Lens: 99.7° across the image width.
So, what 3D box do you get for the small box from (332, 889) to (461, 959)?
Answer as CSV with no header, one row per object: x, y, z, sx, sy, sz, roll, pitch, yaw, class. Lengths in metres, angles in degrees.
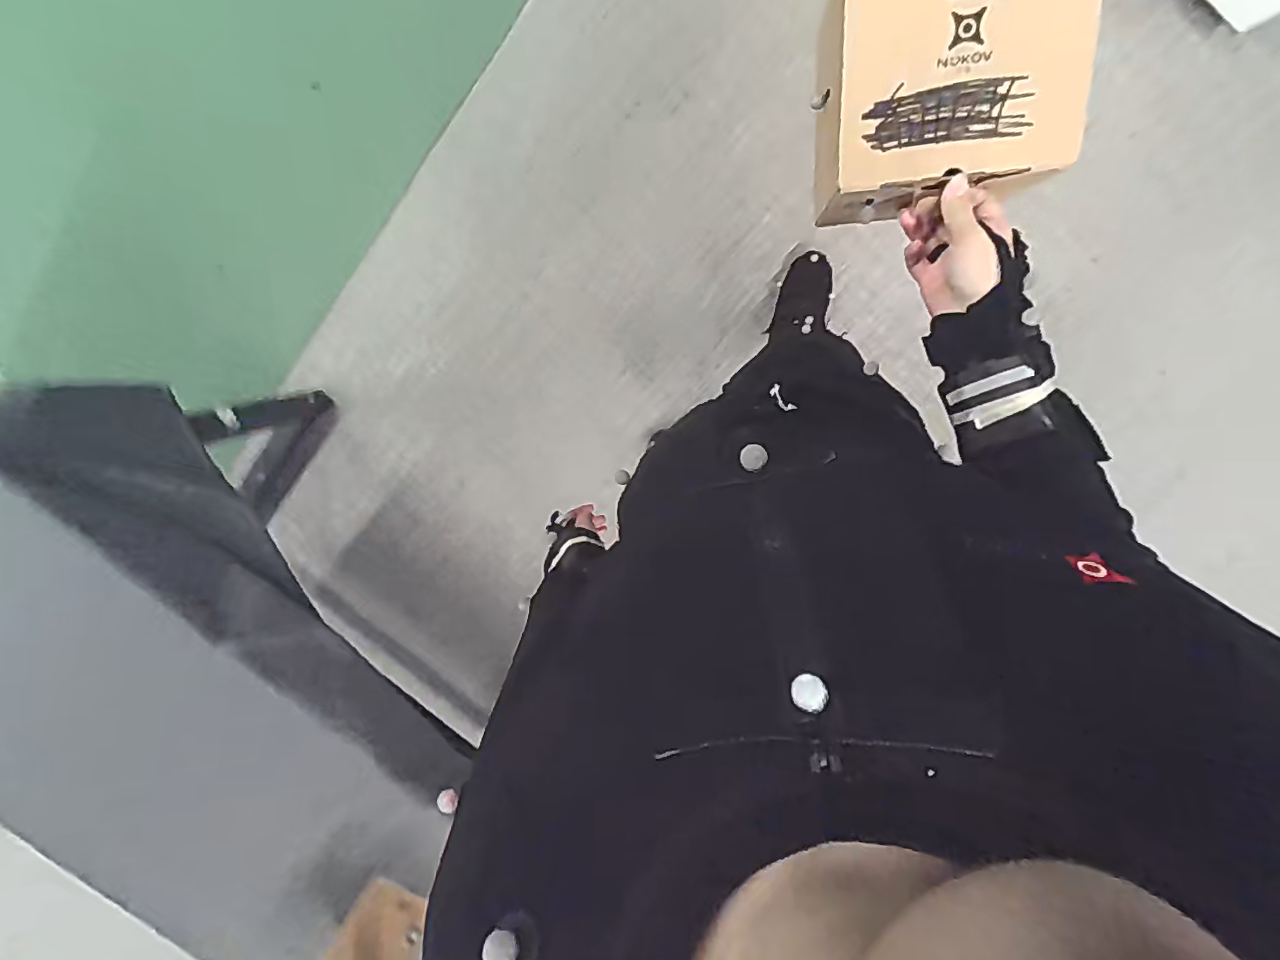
-0.394,0.767,0.799,0.168,0.176,0.179,30,107,-2,small box
